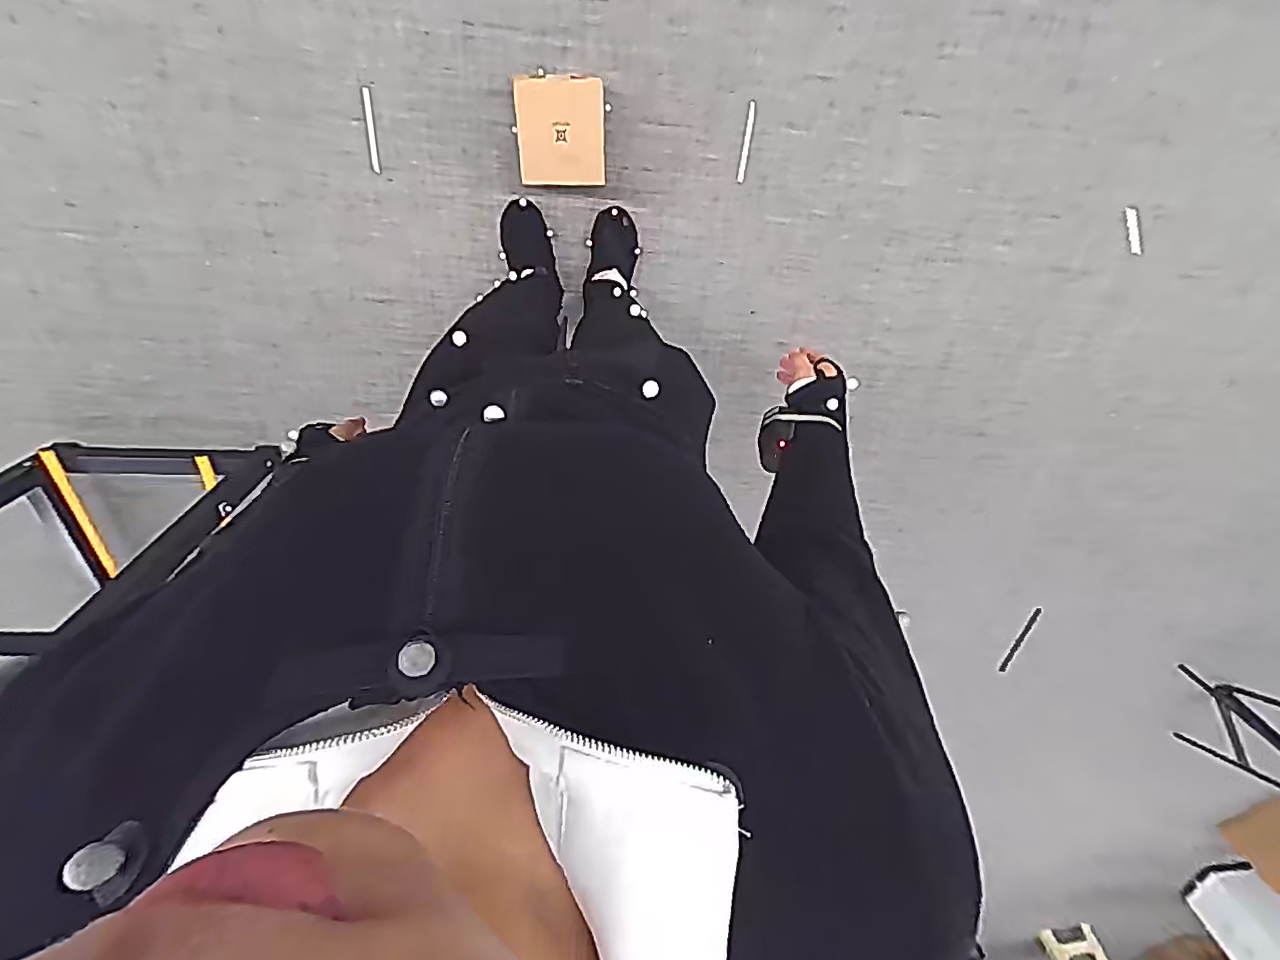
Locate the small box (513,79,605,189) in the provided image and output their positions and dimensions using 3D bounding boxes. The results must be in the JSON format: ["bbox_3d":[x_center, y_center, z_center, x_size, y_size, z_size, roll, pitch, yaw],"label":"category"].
[{"bbox_3d":[-0.156,-0.693,1.090,0.168,0.176,0.179,-1,123,-3],"label":"small box"}]
